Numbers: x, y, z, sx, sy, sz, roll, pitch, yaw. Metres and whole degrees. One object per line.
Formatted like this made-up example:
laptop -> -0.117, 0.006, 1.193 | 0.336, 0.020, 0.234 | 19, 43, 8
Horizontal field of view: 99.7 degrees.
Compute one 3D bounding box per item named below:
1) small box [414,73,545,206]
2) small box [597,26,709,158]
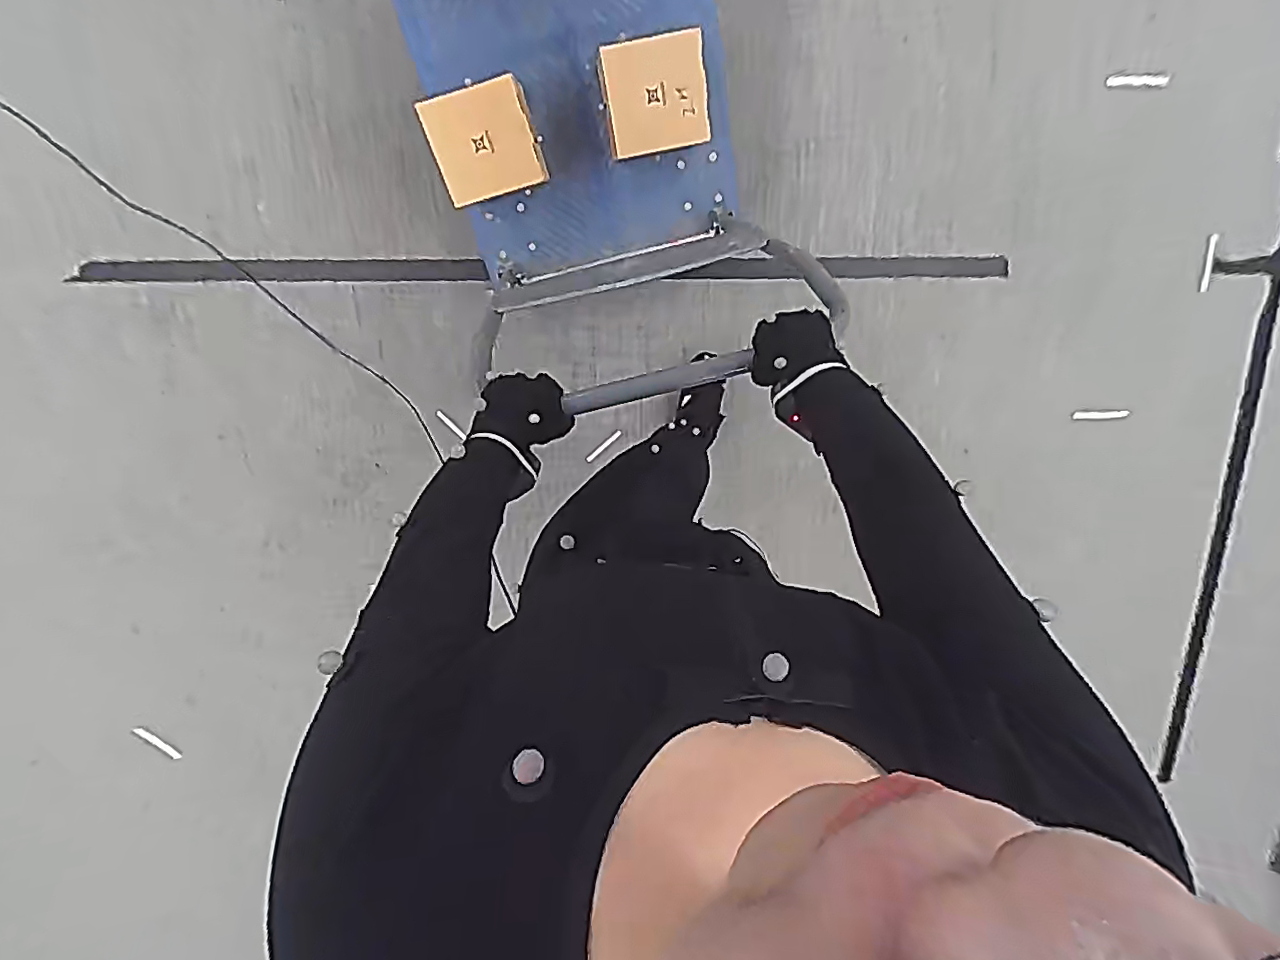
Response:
small box -> -0.287, -0.627, 1.012 | 0.179, 0.176, 0.168 | -17, 120, 2
small box -> 0.020, -0.706, 1.004 | 0.179, 0.176, 0.168 | -12, 120, 0
